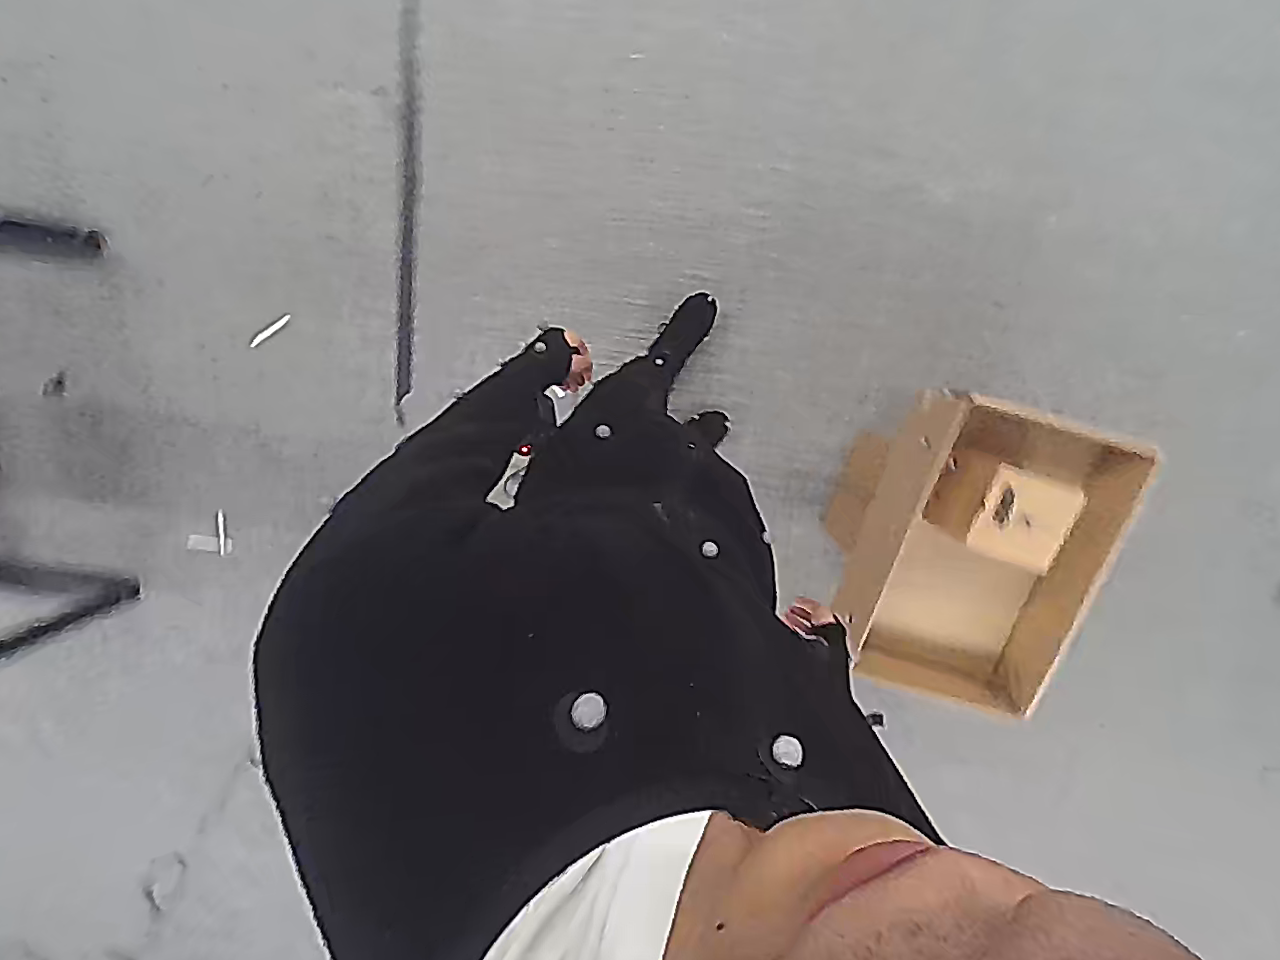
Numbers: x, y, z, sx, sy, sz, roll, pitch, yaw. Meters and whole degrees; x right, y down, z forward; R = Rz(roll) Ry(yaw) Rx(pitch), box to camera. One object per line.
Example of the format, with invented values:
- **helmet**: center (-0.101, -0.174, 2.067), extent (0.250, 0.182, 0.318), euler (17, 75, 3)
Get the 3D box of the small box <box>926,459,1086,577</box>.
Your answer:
- **small box**: center (0.719, 0.067, 1.089), extent (0.179, 0.176, 0.168), euler (19, 104, -2)
